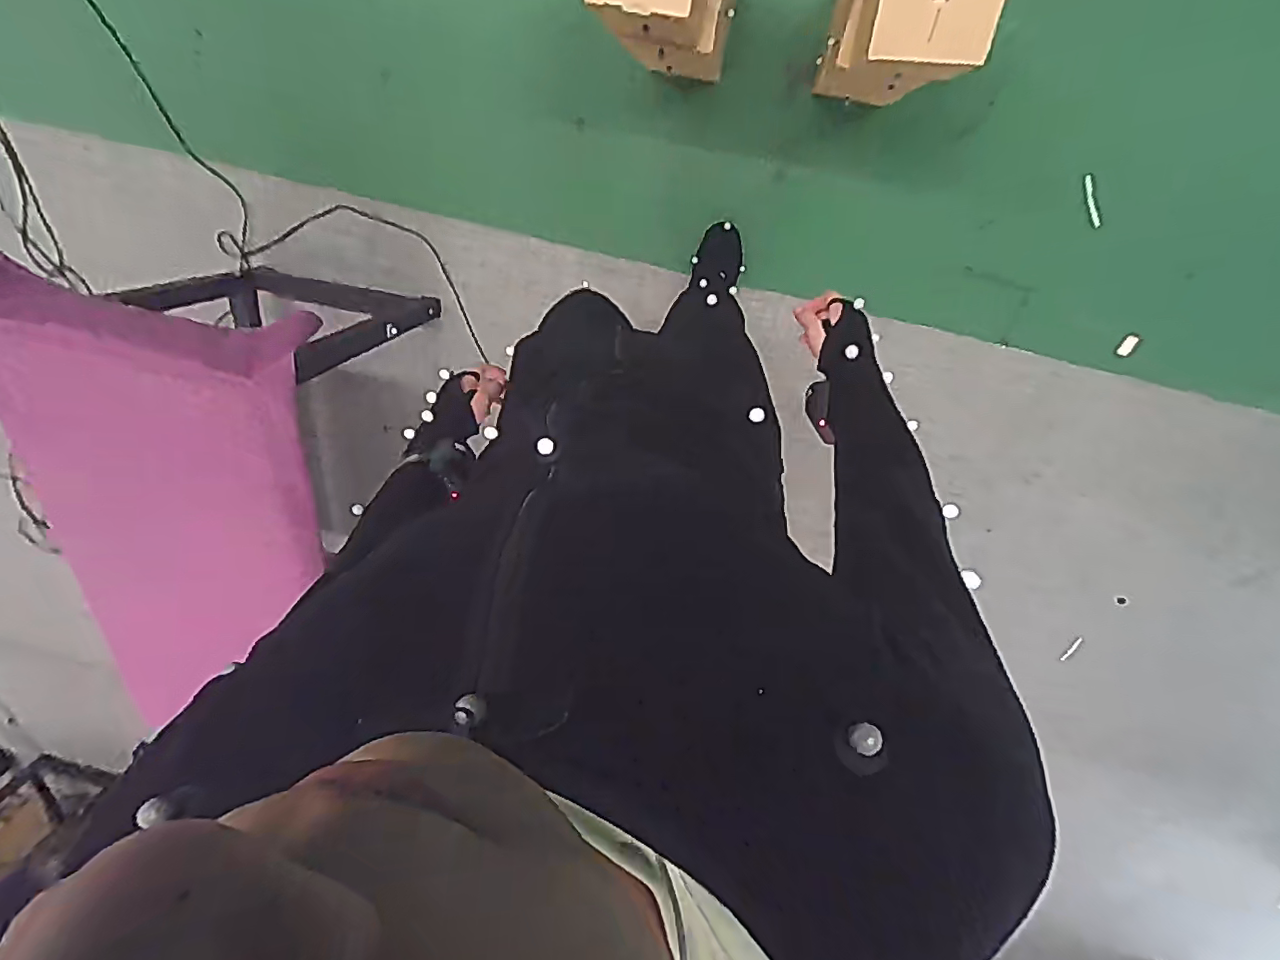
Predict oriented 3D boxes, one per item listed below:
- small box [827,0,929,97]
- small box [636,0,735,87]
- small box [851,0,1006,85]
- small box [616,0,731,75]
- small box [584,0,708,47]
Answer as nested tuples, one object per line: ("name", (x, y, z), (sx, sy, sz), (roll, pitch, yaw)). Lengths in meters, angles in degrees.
("small box", (0.438, -0.792, 0.943), (0.168, 0.176, 0.179), (12, 121, 3))
("small box", (0.099, -0.939, 1.118), (0.168, 0.176, 0.179), (13, 119, 4))
("small box", (0.427, -0.708, 0.803), (0.168, 0.176, 0.179), (8, 122, 6))
("small box", (0.068, -0.858, 0.978), (0.179, 0.176, 0.168), (13, 120, 4))
("small box", (0.023, -0.798, 0.830), (0.168, 0.176, 0.179), (14, 120, 4))
